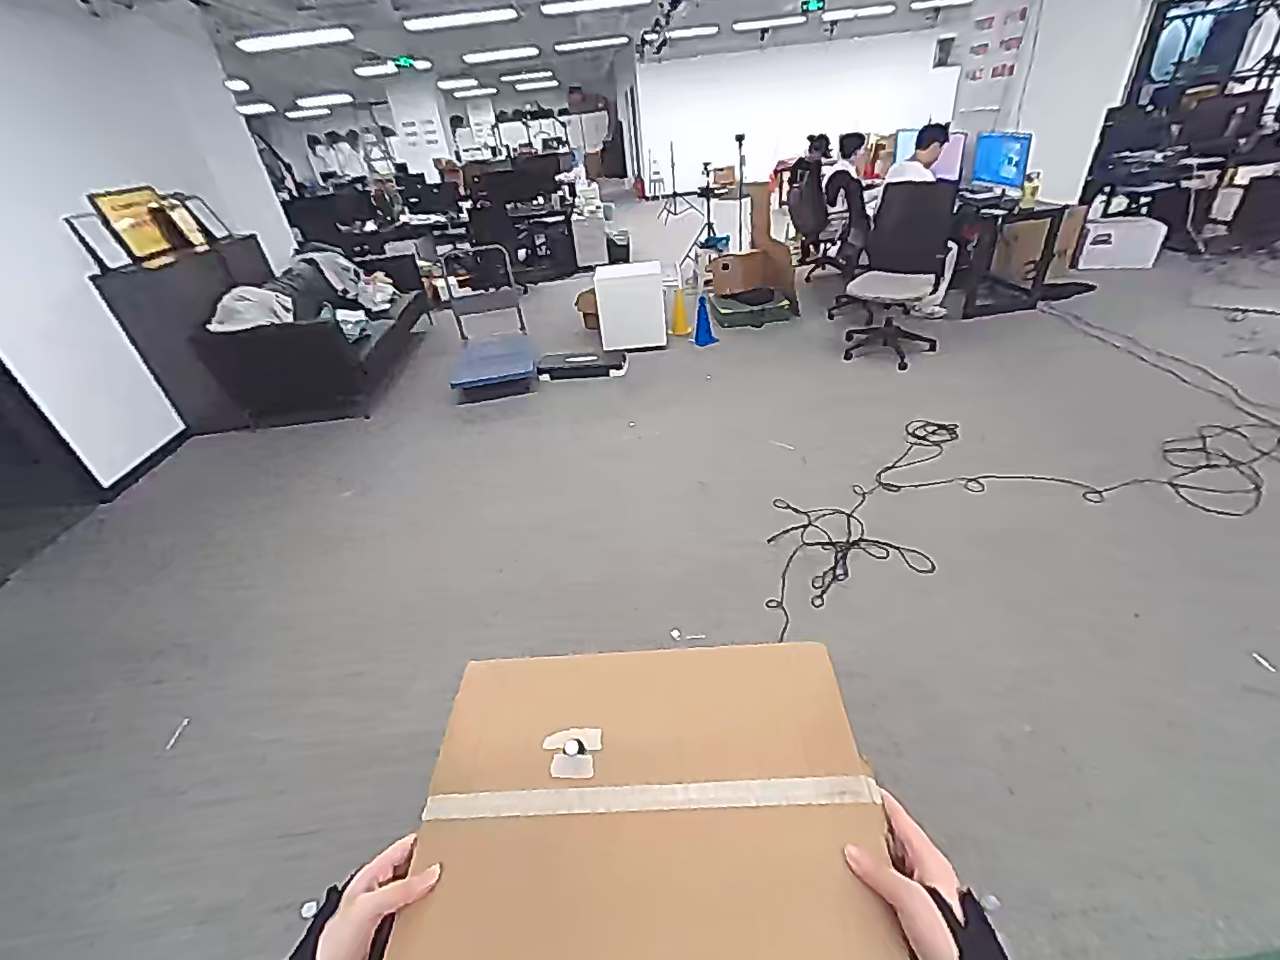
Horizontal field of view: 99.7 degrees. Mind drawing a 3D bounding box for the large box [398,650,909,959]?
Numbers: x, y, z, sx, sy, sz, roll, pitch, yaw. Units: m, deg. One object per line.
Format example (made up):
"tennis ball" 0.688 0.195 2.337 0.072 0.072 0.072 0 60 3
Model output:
"large box" 0.024 0.420 0.587 0.408 0.320 0.320 -7 38 6
